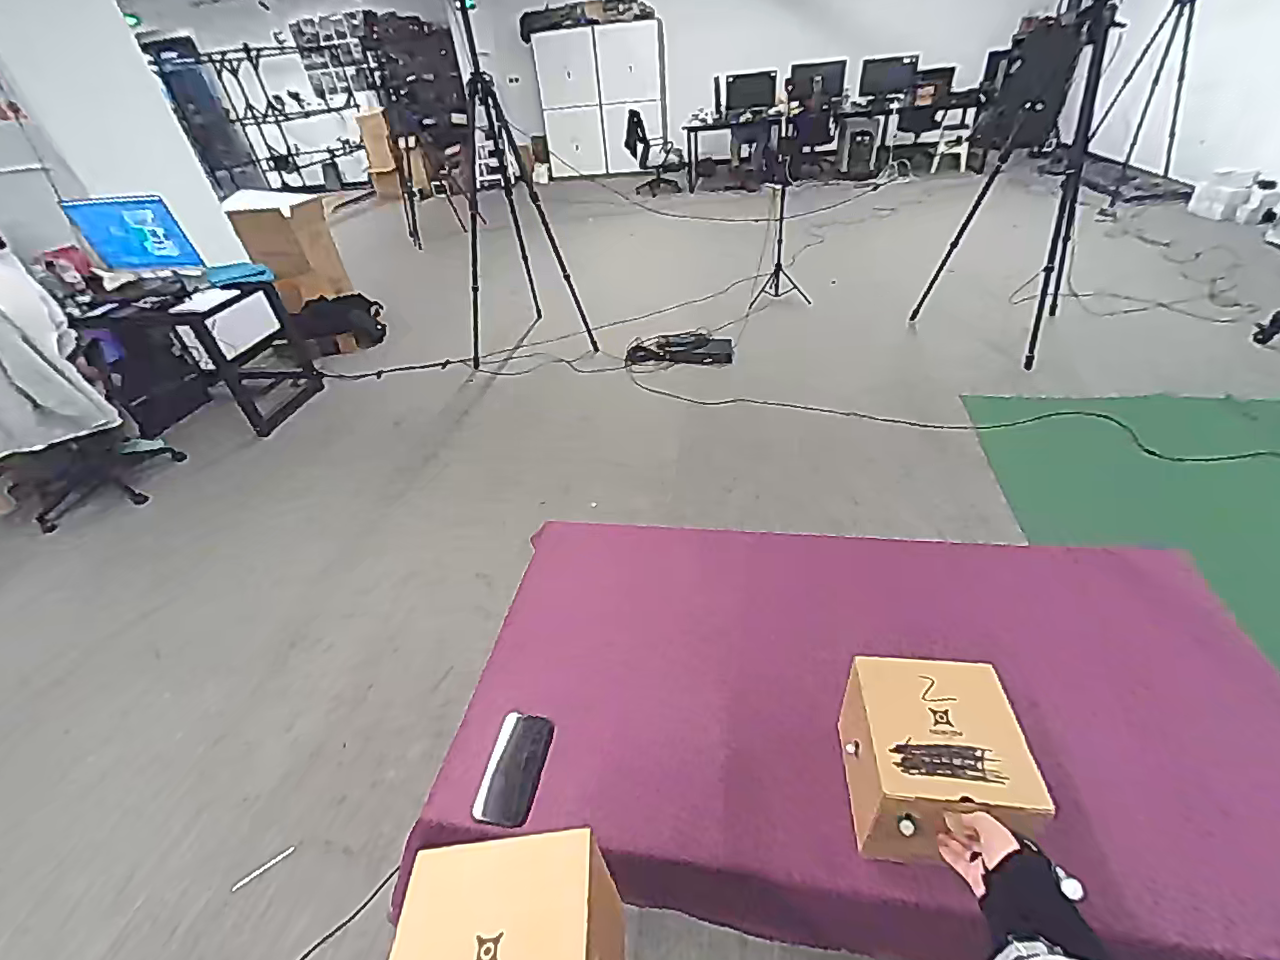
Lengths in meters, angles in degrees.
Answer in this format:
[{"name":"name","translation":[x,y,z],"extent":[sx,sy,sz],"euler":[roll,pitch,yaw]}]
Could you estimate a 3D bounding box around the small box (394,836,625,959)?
[{"name":"small box","translation":[-0.105,0.446,0.464],"extent":[0.168,0.176,0.179],"euler":[-9,33,3]}]
